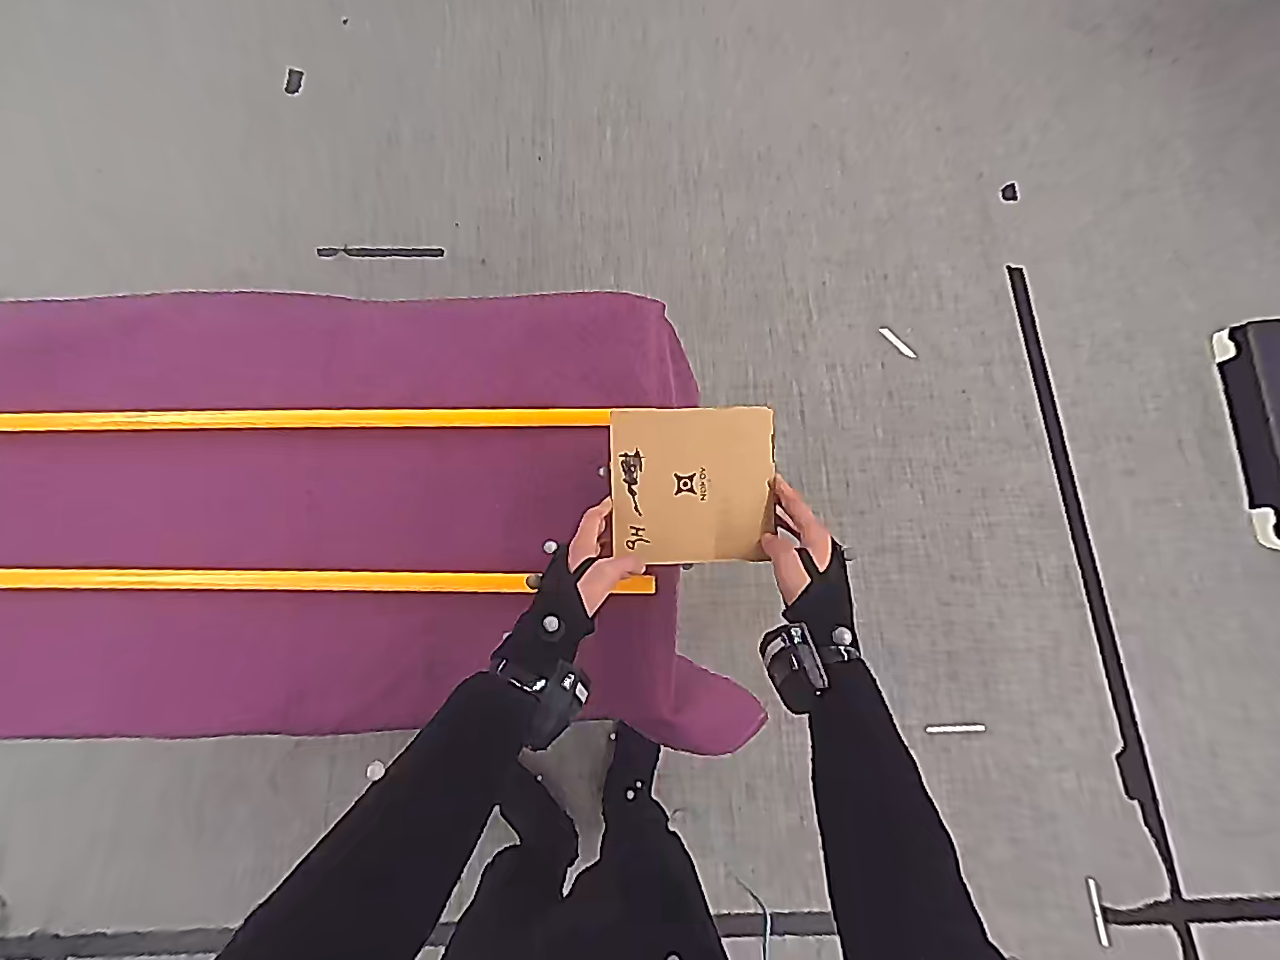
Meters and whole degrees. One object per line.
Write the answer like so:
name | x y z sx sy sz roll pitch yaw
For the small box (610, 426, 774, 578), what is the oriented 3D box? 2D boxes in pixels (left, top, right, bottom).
small box | 0.055 0.028 0.659 0.179 0.176 0.168 -1 86 0
